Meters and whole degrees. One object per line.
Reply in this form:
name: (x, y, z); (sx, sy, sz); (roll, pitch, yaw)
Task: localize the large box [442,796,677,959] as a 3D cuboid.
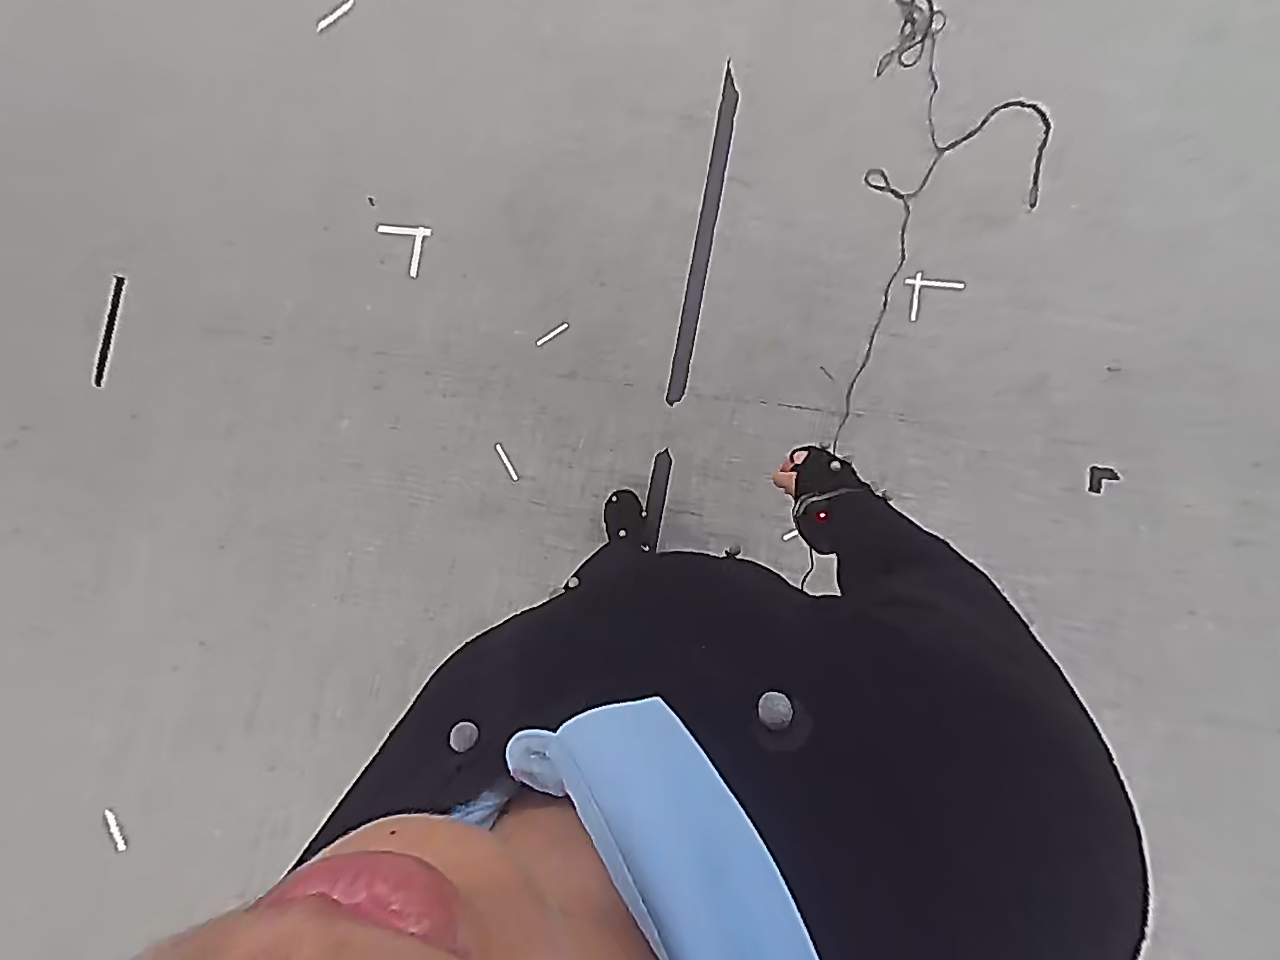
large box: (-0.153, 0.931, 1.122); (0.408, 0.320, 0.320); (12, 85, 8)
